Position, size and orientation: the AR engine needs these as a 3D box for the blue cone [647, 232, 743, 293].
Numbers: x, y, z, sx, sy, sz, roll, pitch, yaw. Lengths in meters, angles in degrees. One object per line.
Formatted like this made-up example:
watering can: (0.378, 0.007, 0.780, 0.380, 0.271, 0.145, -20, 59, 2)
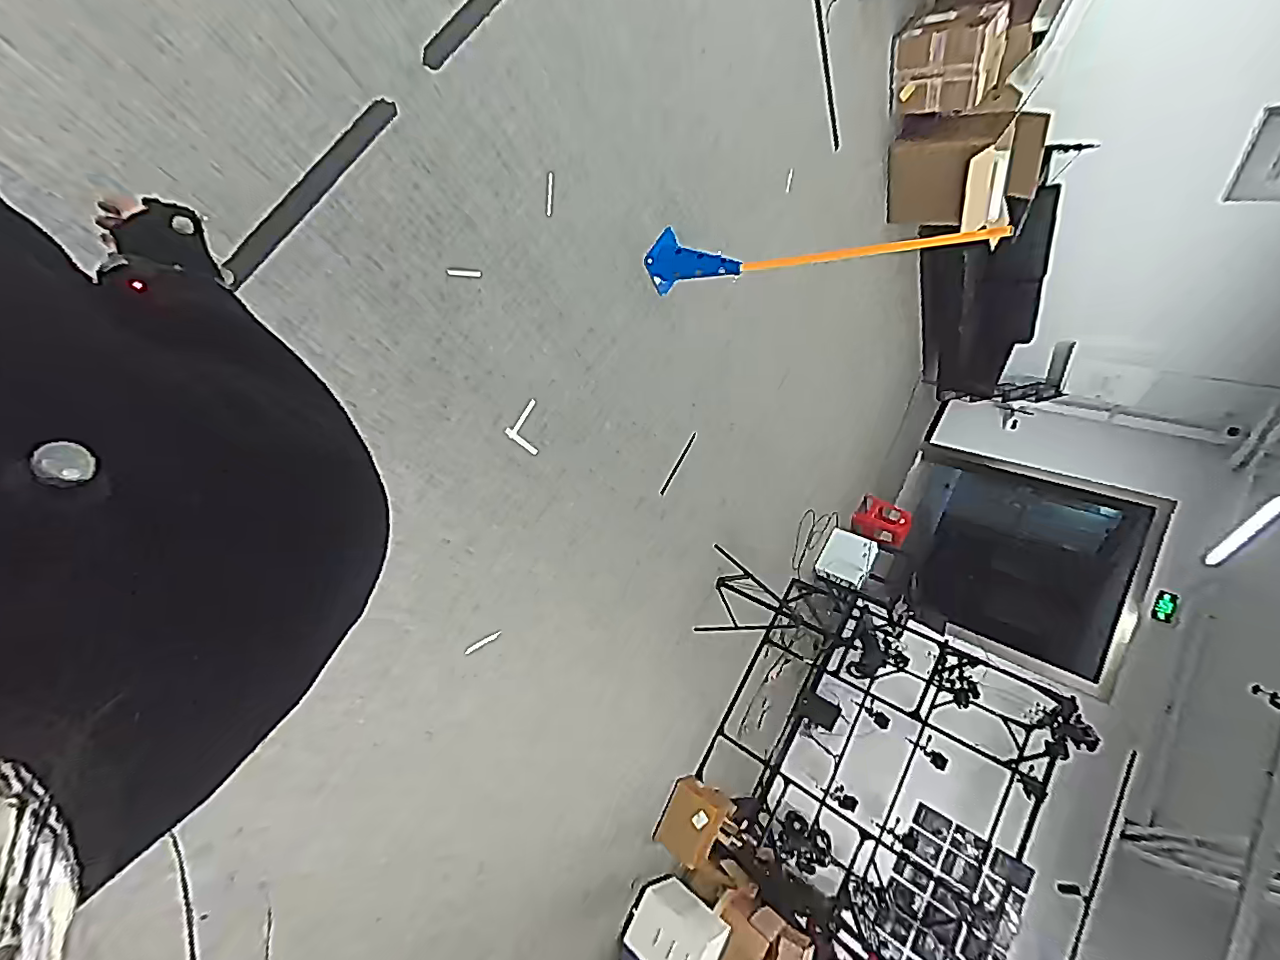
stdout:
blue cone: (0.232, -0.828, 2.084, 0.192, 0.380, 0.193, -56, 143, -15)
